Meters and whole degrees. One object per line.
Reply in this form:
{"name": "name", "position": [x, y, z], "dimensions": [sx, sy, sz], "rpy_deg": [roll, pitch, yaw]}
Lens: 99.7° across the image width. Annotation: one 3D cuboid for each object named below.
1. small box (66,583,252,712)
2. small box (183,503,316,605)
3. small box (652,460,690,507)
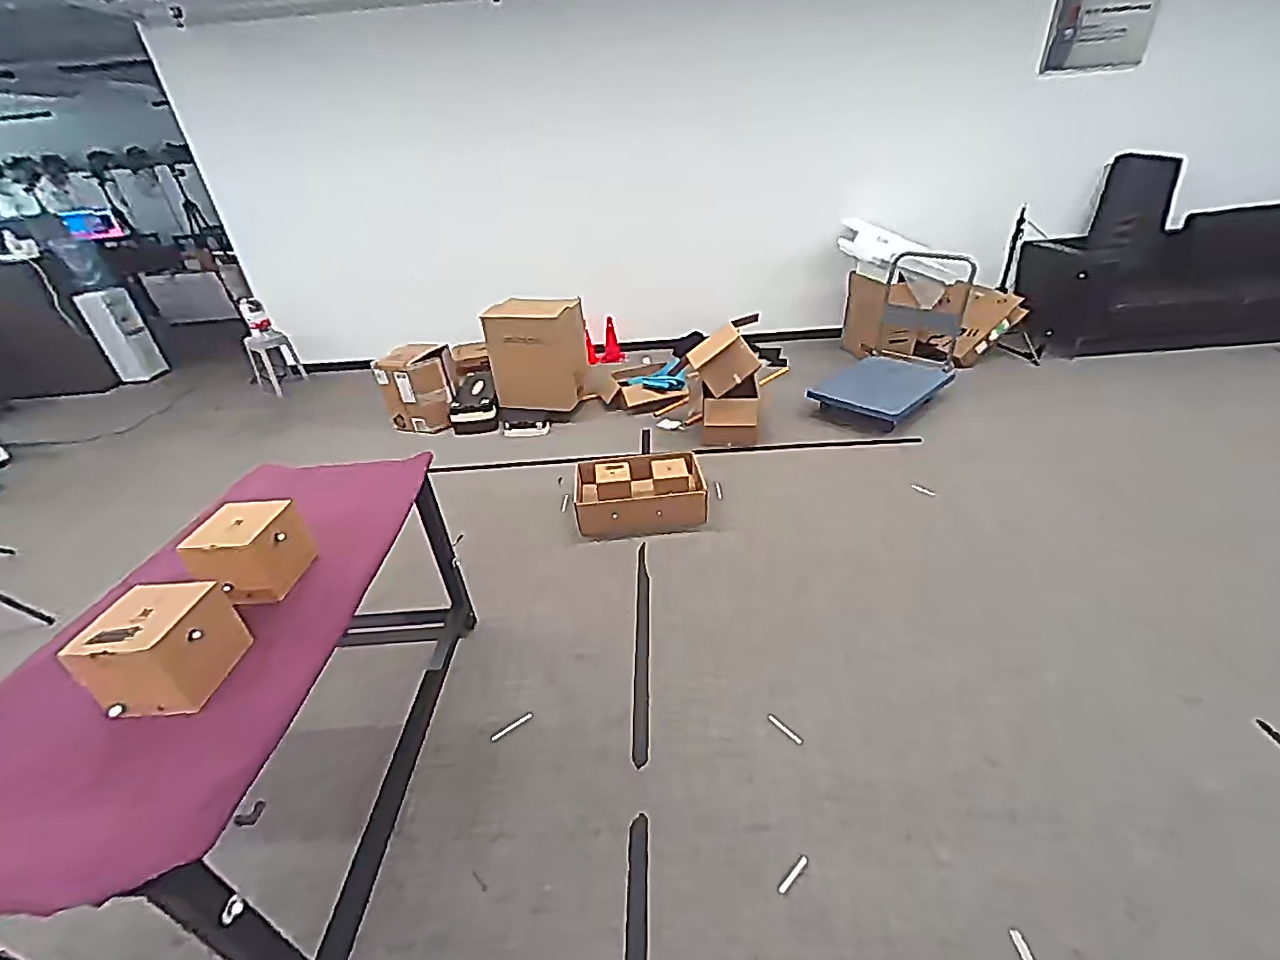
{"name": "small box", "position": [-0.890, 0.321, 1.026], "dimensions": [0.168, 0.176, 0.179], "rpy_deg": [-3, 31, 2]}
{"name": "small box", "position": [-0.899, 0.174, 1.270], "dimensions": [0.168, 0.176, 0.179], "rpy_deg": [-3, 32, 3]}
{"name": "small box", "position": [0.153, 0.021, 2.664], "dimensions": [0.168, 0.176, 0.179], "rpy_deg": [-5, 31, -1]}
